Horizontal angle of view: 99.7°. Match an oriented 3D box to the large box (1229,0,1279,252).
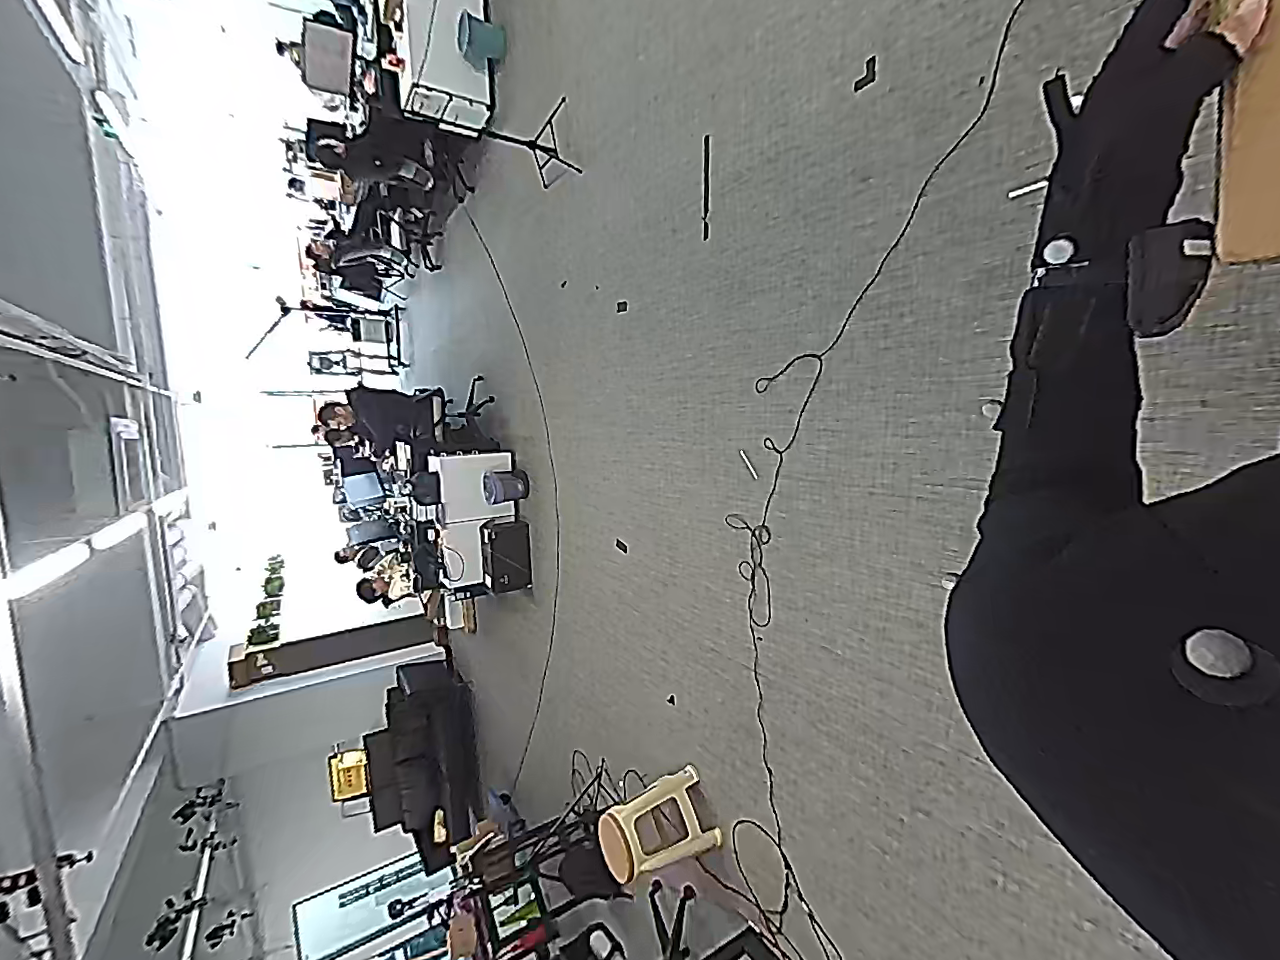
[{"bbox_3d":[0.554,-0.307,0.217,0.408,0.320,0.320,5,109,54],"label":"large box"}]
